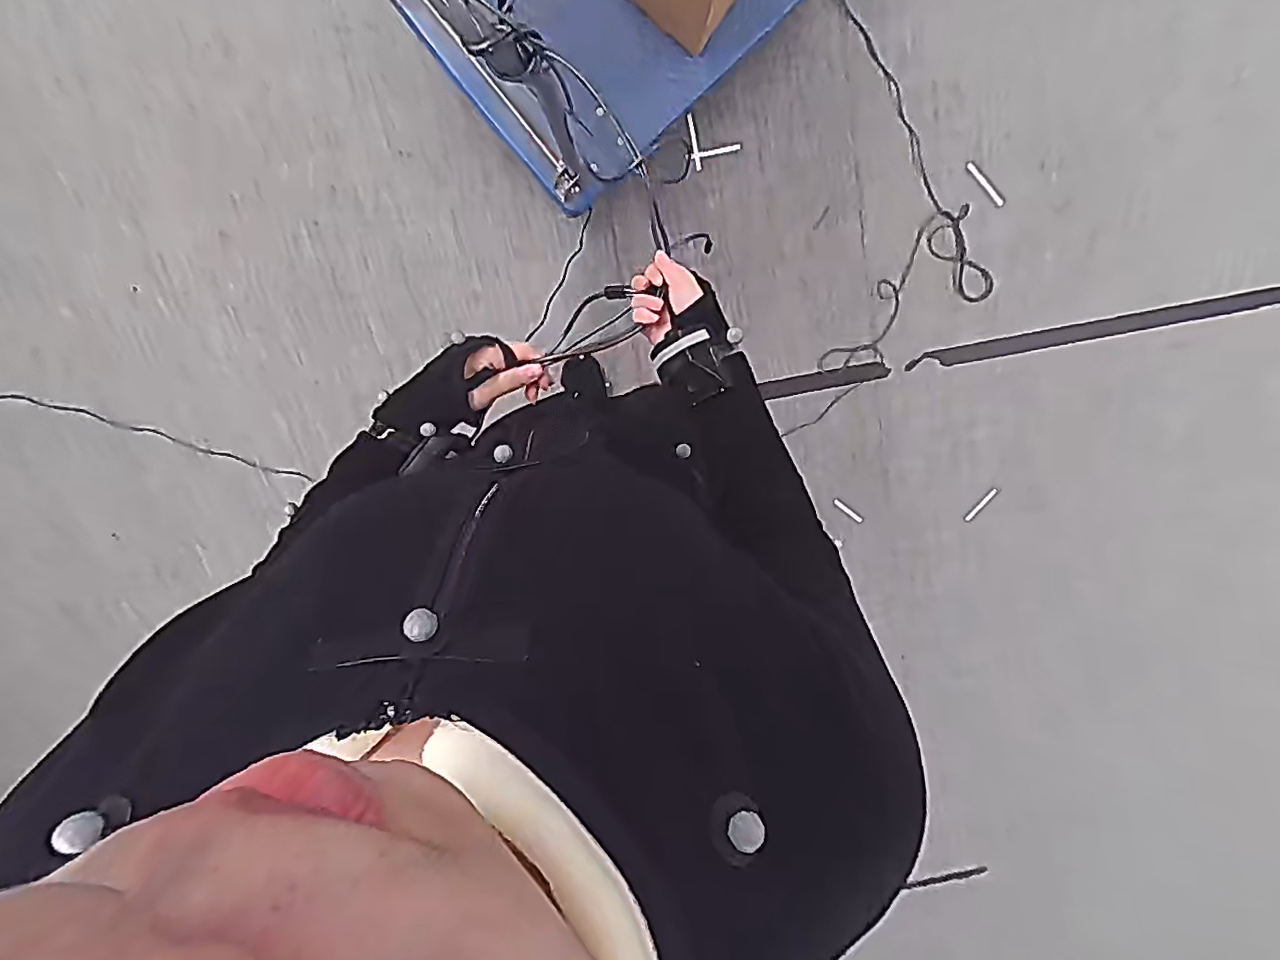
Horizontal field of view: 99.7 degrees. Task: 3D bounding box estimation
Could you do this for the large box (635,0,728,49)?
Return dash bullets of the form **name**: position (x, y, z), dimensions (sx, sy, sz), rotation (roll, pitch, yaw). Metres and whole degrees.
- **large box**: position (0.047, -1.068, 0.906), dimensions (0.408, 0.320, 0.320), rotation (33, 101, -11)
